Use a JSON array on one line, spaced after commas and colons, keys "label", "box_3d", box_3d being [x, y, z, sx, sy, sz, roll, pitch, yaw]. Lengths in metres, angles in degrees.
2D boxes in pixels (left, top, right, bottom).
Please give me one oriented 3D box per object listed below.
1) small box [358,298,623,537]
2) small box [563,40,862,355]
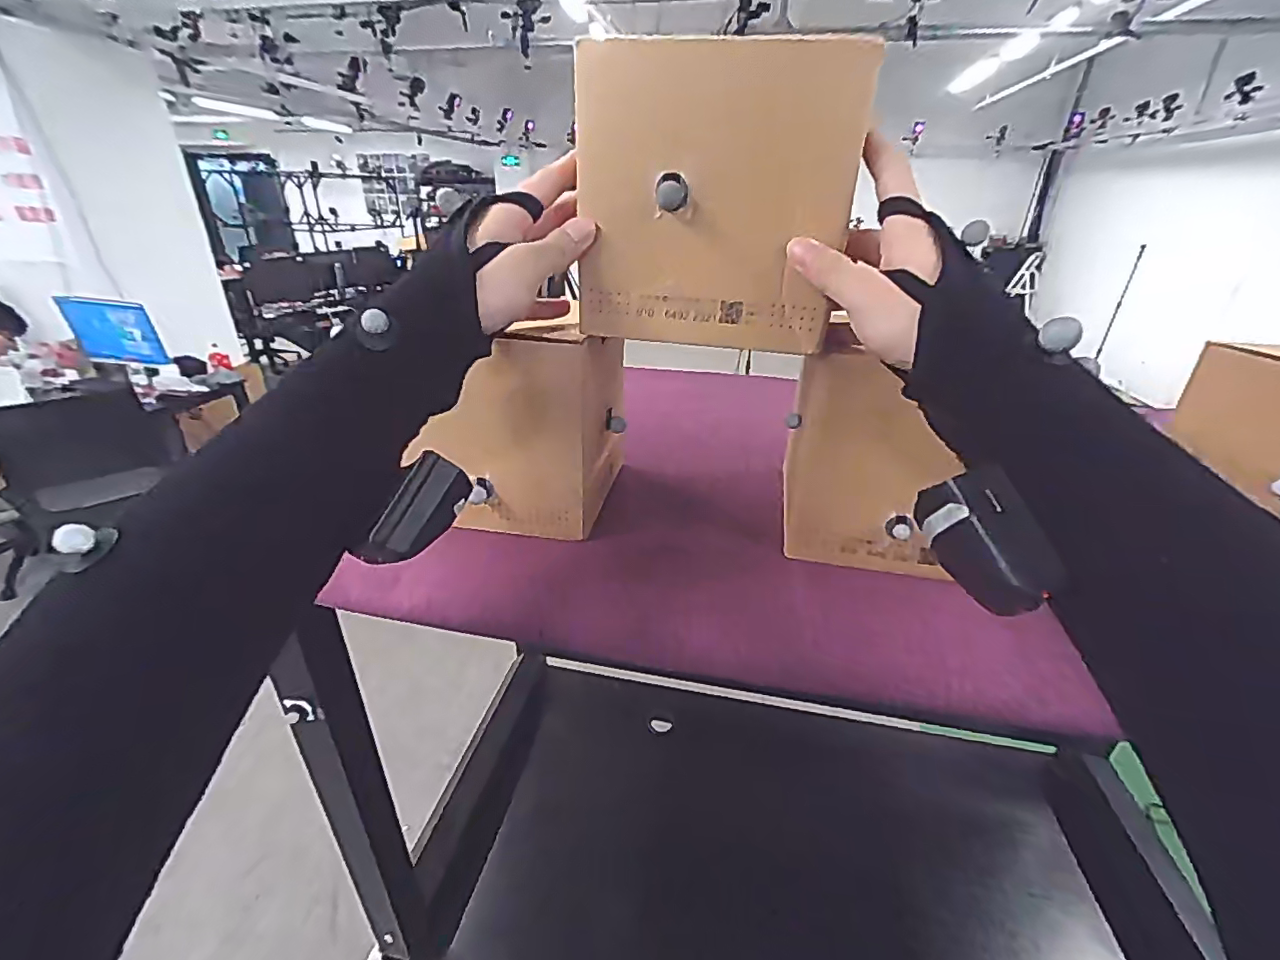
[{"label": "small box", "box_3d": [-0.116, -0.063, 0.496, 0.179, 0.176, 0.168, 6, 26, 7]}, {"label": "small box", "box_3d": [0.053, -0.198, 0.400, 0.168, 0.176, 0.179, 7, 29, 10]}]
